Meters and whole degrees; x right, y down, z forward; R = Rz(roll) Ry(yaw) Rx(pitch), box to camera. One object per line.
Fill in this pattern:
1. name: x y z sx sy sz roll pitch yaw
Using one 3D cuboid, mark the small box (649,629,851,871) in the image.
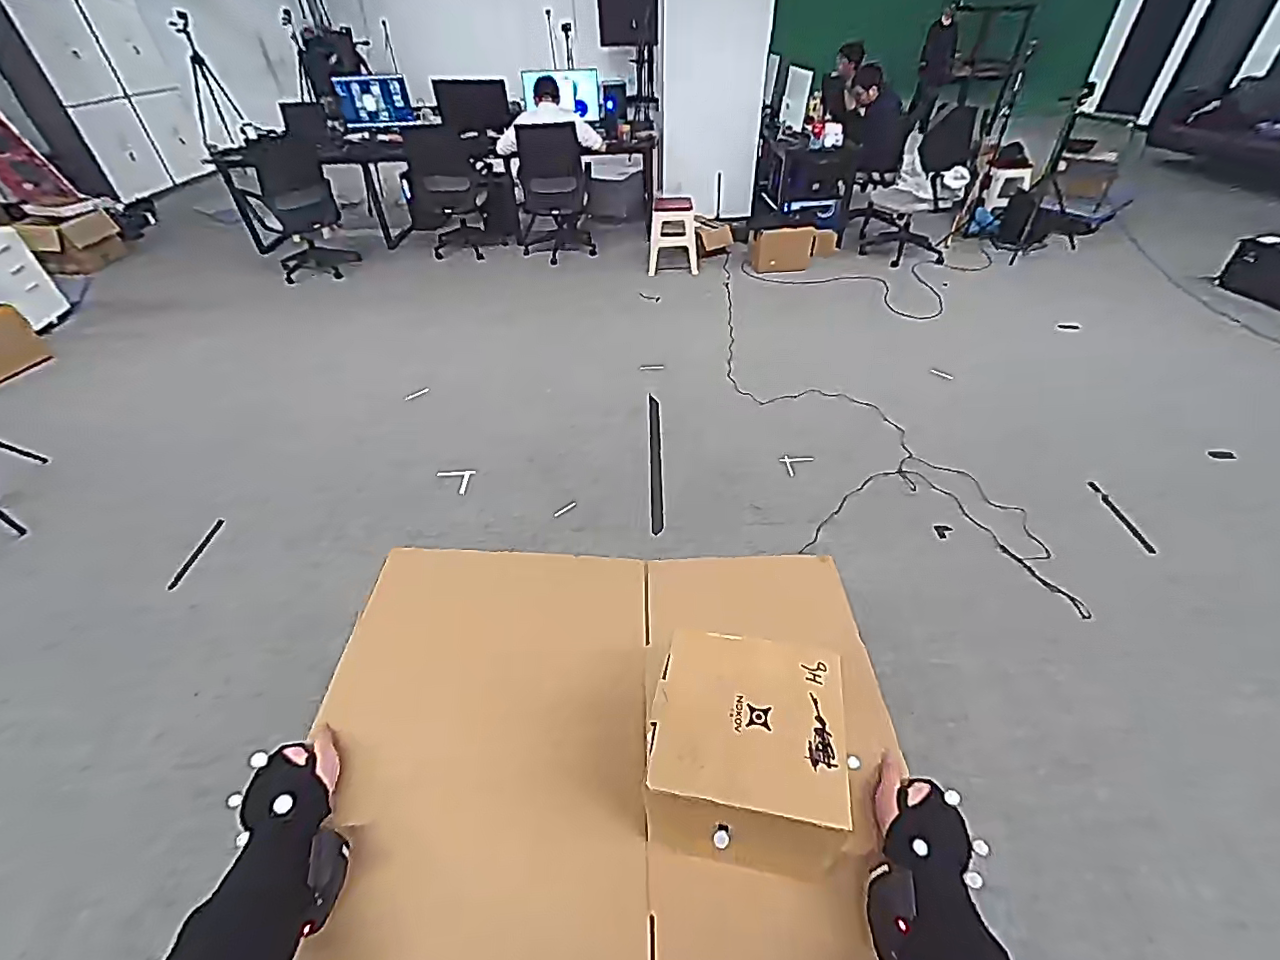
1. small box: 0.115 0.284 0.573 0.179 0.176 0.168 5 42 12
